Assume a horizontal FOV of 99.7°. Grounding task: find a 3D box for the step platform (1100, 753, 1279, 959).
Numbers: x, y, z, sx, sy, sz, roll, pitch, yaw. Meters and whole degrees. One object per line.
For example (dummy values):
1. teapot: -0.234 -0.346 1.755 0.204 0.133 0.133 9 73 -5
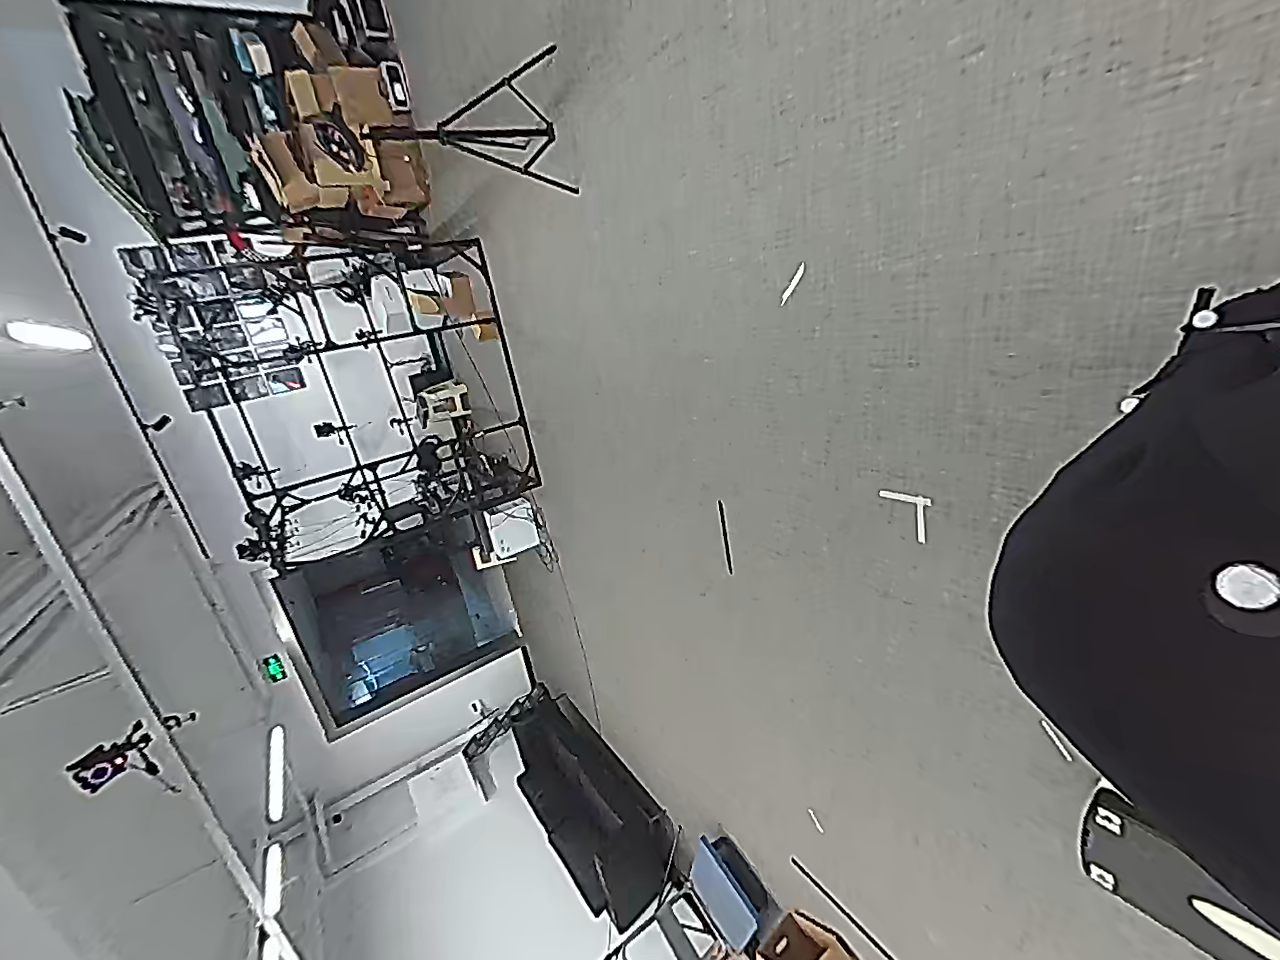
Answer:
1. step platform: 1.392 0.899 1.111 0.684 0.204 0.286 19 124 57
